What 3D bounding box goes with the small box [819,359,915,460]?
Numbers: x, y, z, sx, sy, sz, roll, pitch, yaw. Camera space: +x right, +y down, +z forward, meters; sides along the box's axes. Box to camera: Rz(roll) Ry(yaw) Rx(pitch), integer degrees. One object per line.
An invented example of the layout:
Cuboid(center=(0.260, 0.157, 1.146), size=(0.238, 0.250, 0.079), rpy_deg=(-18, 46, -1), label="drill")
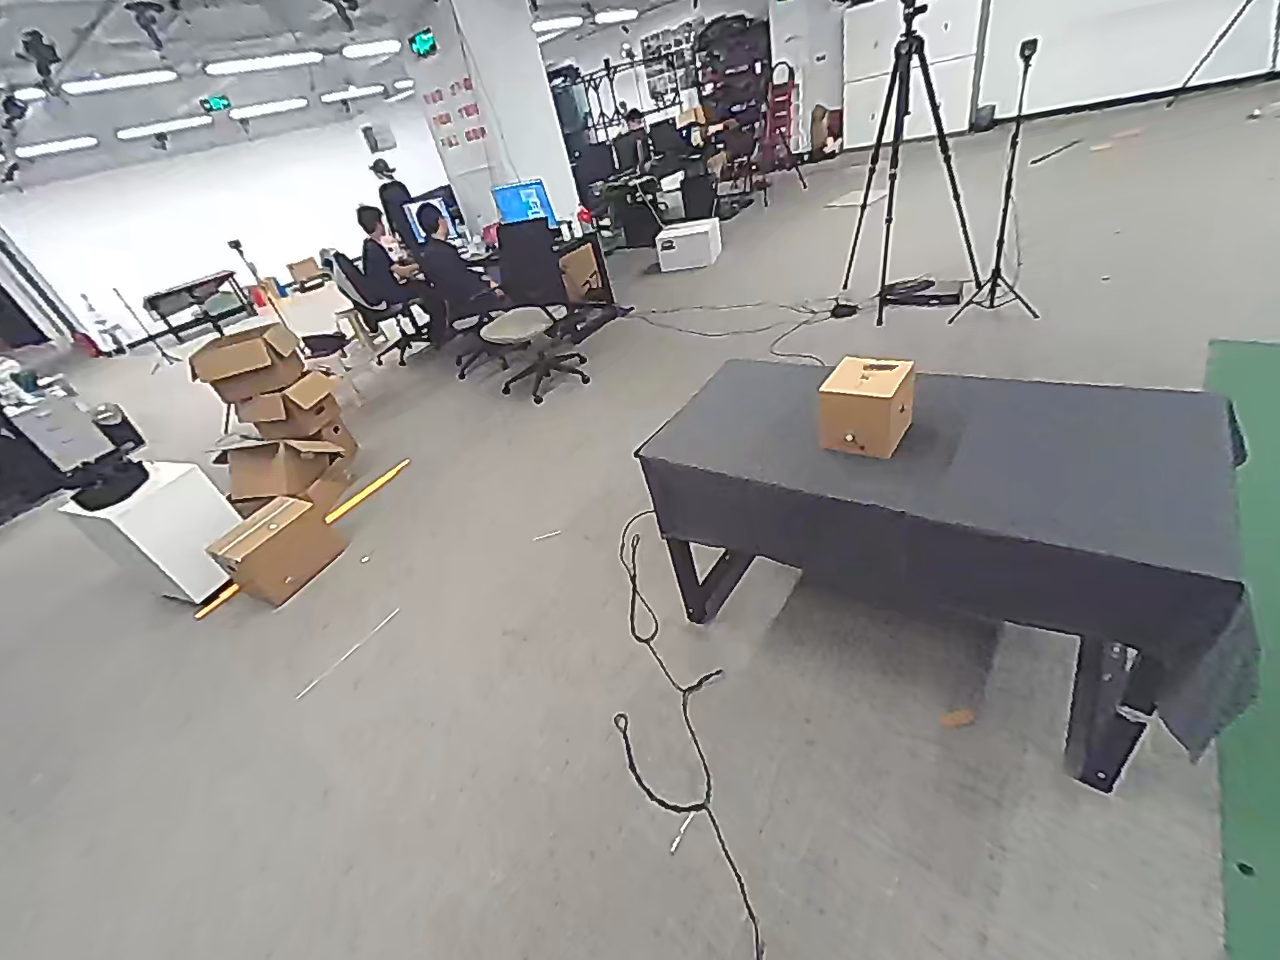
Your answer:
Cuboid(center=(0.548, -0.174, 1.311), size=(0.168, 0.176, 0.179), rpy_deg=(14, 44, 37), label="small box")
